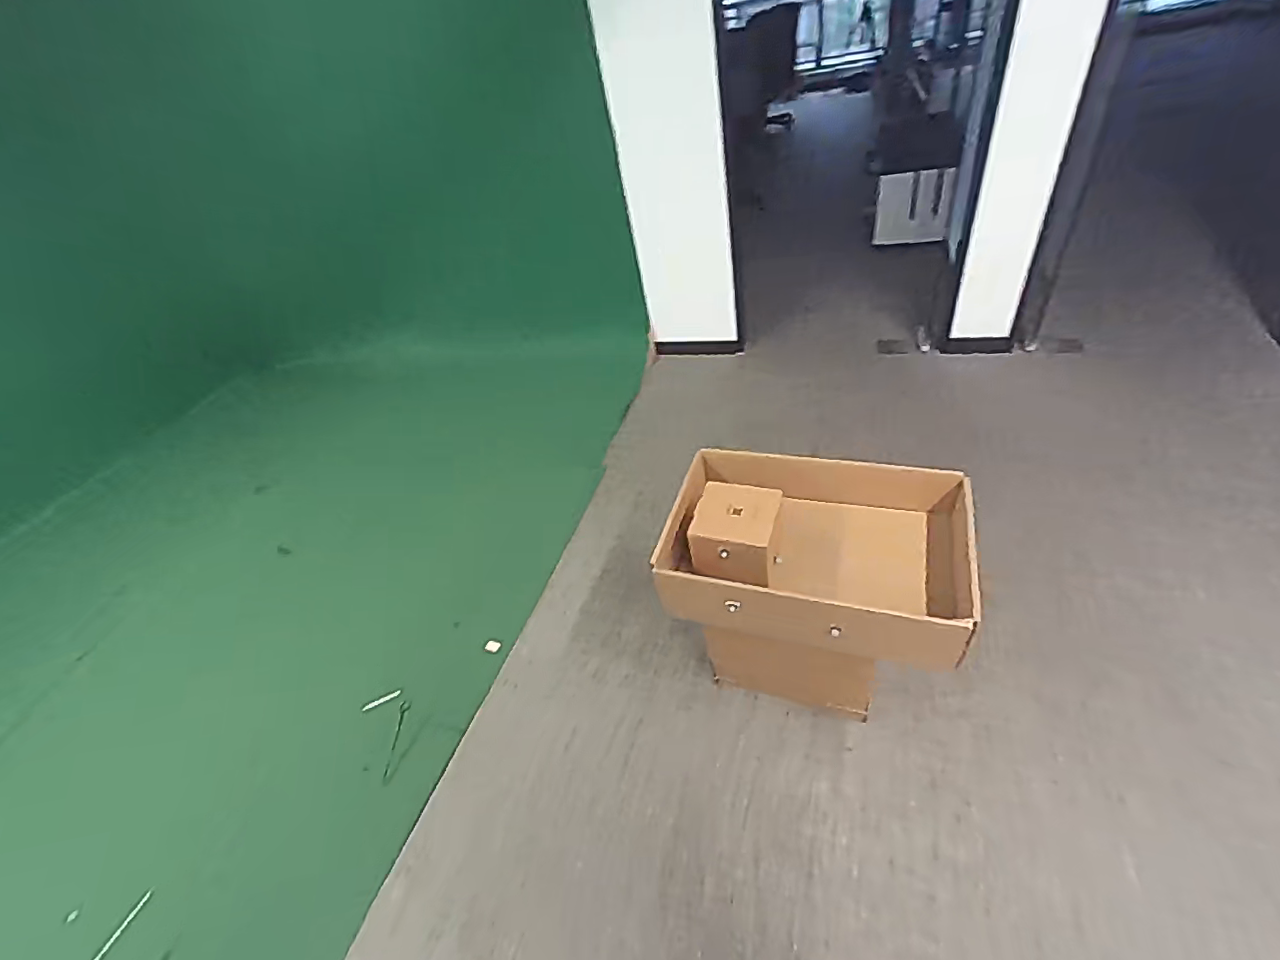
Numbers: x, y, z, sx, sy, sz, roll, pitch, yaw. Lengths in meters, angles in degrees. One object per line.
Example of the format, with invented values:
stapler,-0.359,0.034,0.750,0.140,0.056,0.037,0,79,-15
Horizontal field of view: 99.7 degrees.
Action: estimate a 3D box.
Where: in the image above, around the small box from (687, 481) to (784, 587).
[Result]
small box,0.223,0.123,1.230,0.179,0.176,0.168,6,47,24
